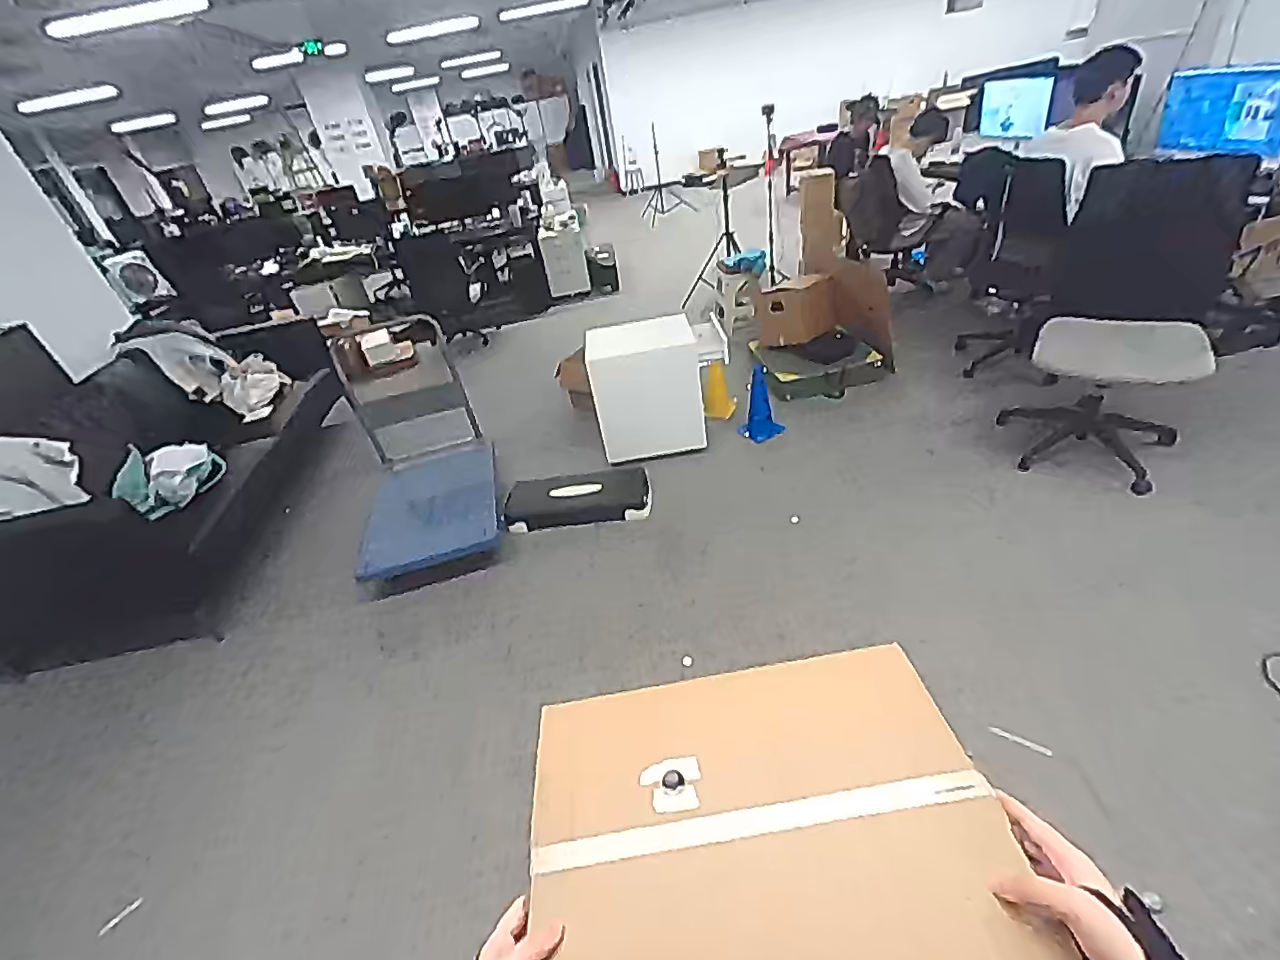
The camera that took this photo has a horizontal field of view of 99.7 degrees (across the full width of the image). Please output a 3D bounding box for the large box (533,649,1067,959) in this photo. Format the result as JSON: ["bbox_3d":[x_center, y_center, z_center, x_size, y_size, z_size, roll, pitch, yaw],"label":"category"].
[{"bbox_3d":[0.131,0.435,0.574,0.408,0.320,0.320,-13,34,3],"label":"large box"}]
